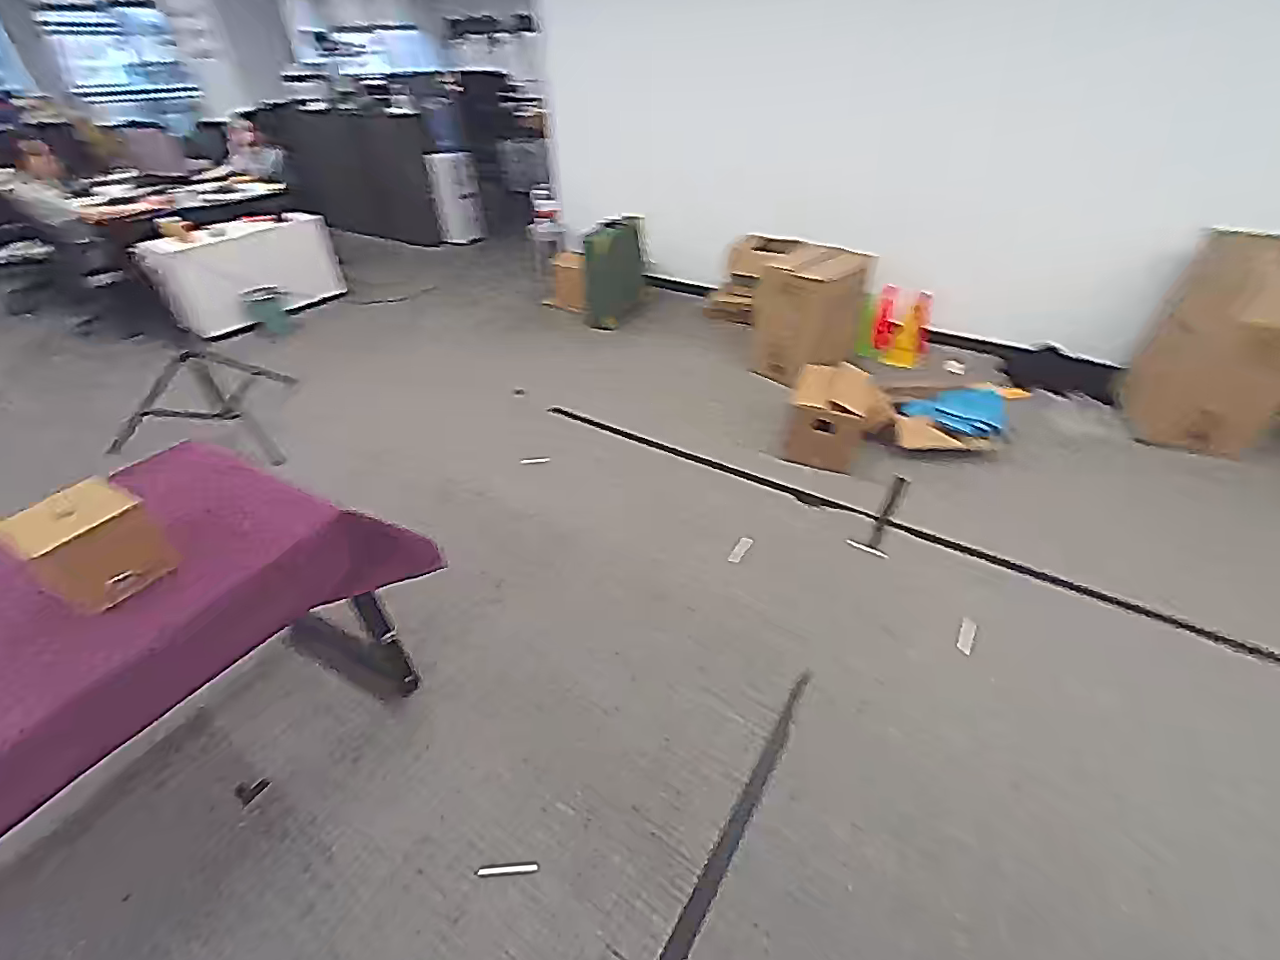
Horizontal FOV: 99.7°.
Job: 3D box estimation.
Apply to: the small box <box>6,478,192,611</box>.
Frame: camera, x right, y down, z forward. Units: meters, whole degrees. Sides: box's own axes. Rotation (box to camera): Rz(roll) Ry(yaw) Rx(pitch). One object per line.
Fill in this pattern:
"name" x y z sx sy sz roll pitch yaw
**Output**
"small box" -1.043 0.126 1.056 0.179 0.176 0.168 19 44 22
